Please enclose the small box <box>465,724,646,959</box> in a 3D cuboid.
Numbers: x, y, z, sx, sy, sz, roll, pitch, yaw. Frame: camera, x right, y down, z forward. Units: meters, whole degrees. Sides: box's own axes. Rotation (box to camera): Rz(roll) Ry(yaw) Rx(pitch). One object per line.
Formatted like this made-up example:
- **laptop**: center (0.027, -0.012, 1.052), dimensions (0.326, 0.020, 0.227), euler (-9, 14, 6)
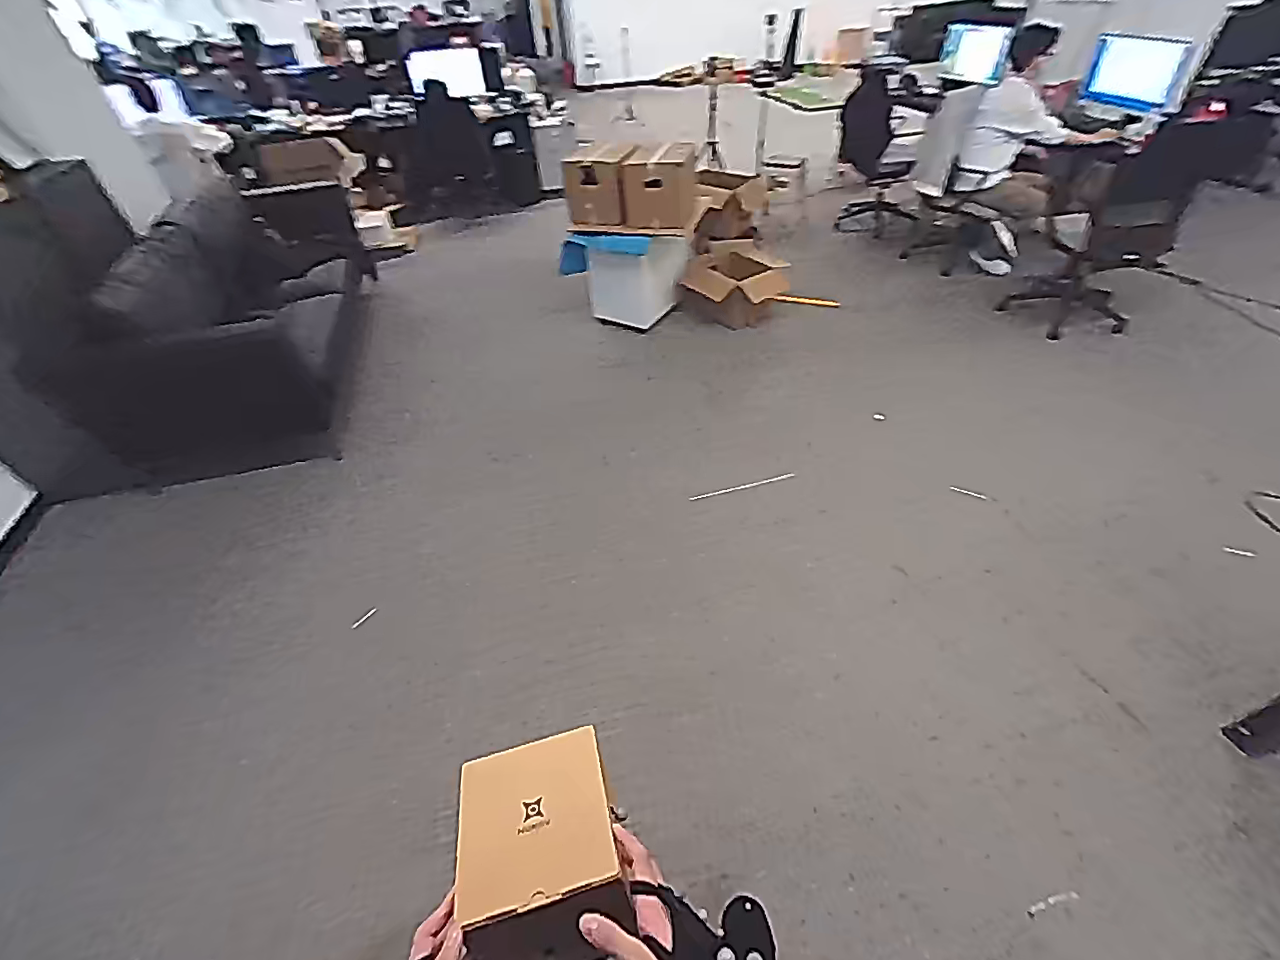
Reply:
- **small box**: center (-0.096, 0.431, 0.636), dimensions (0.168, 0.176, 0.179), euler (-13, 32, -7)
